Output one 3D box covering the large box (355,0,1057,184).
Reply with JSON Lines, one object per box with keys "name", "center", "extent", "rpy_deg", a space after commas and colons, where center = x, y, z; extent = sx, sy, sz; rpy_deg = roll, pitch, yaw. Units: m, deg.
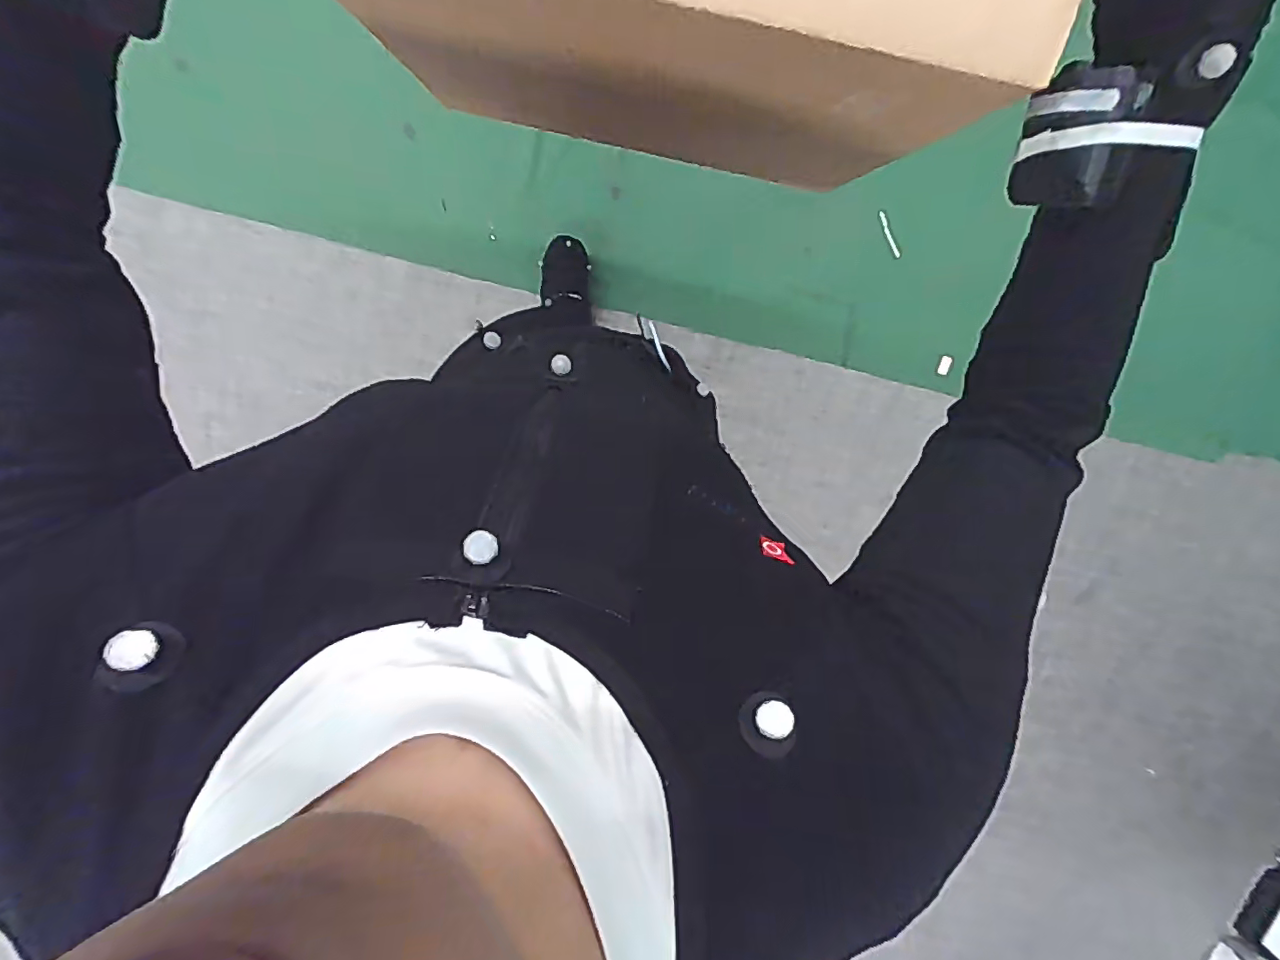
{"name": "large box", "center": [0.034, -0.433, 0.369], "extent": [0.408, 0.320, 0.320], "rpy_deg": [9, 109, -5]}
